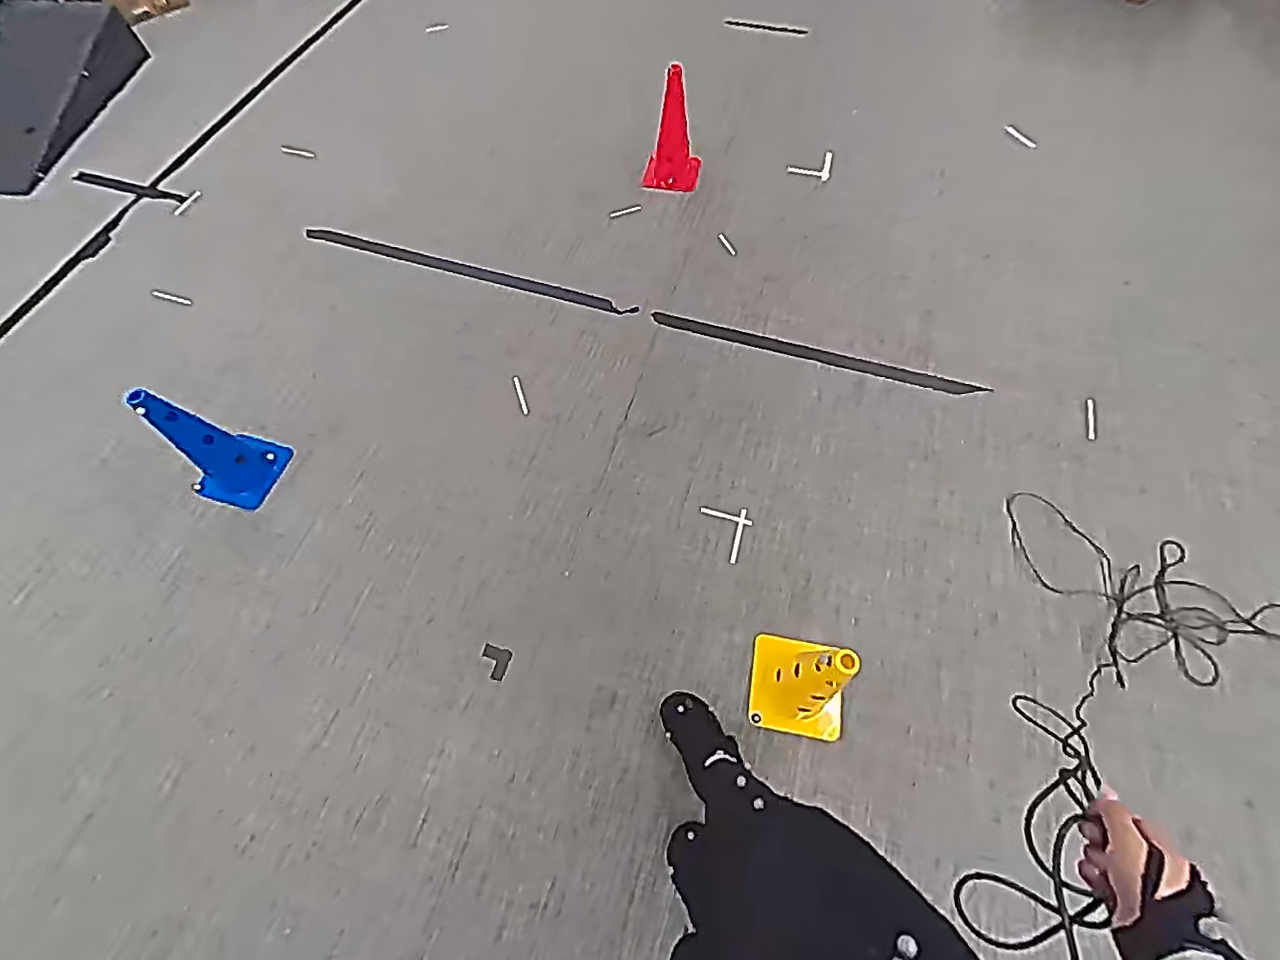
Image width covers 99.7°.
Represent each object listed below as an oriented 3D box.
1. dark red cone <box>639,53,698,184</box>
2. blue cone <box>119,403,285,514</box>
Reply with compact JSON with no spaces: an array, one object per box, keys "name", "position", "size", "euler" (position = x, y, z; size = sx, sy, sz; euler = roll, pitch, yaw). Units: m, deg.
[{"name":"dark red cone","position":[0.105,-1.248,1.872],"size":[0.202,0.394,0.201],"euler":[9,65,6]},{"name":"blue cone","position":[-1.099,-0.080,1.340],"size":[0.193,0.380,0.192],"euler":[16,66,9]}]
